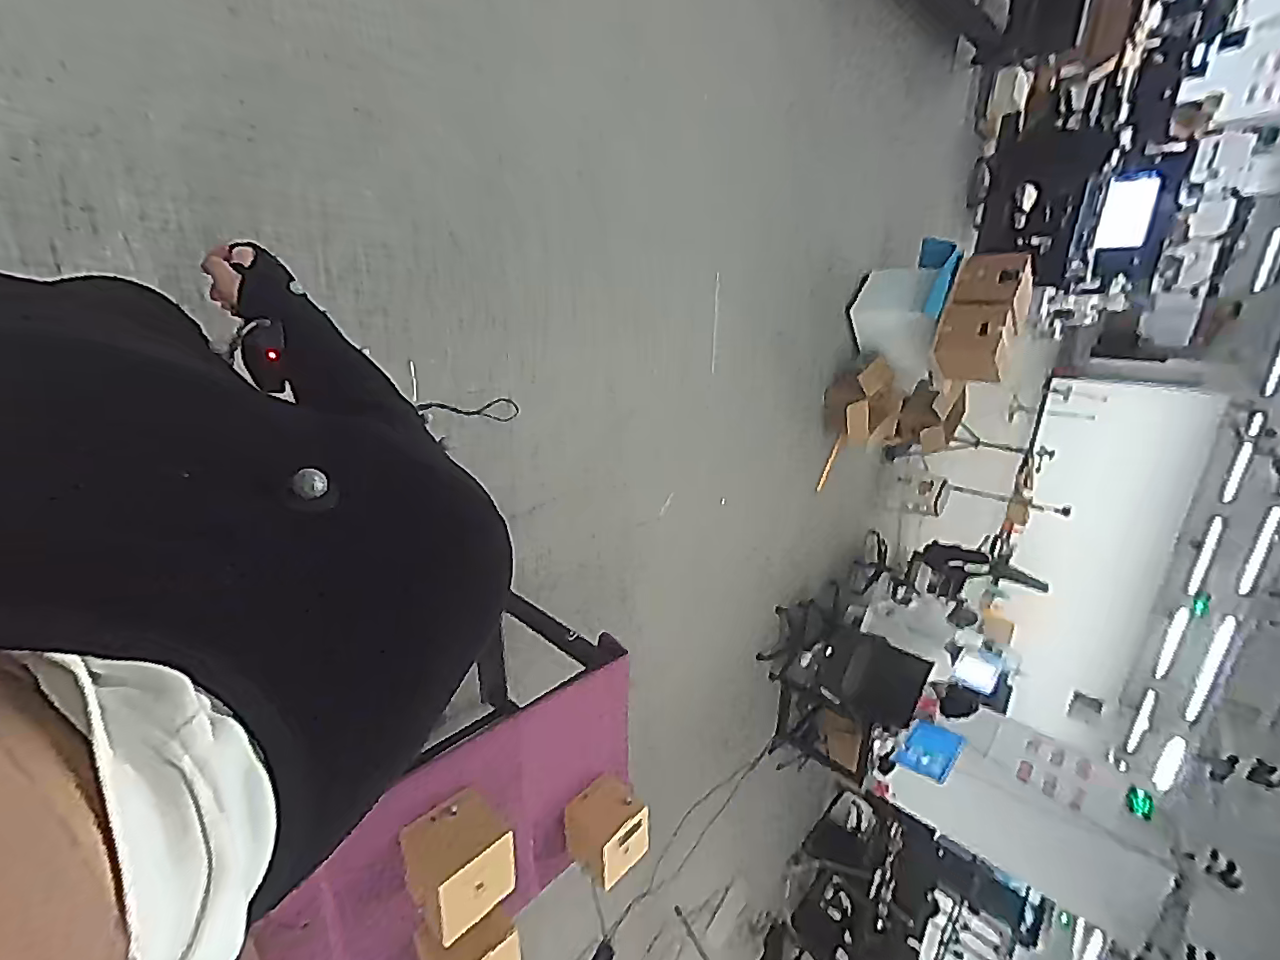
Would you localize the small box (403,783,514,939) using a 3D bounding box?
[{"bbox_3d":[-0.387,0.800,1.155,0.168,0.176,0.179,-17,117,-45],"label":"small box"}]

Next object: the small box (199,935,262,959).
[{"bbox_3d":[-0.679,0.890,0.853,0.168,0.176,0.179,-15,117,-47],"label":"small box"}]

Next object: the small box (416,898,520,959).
[{"bbox_3d":[-0.397,1.081,1.252,0.168,0.176,0.179,-20,117,-43],"label":"small box"}]
